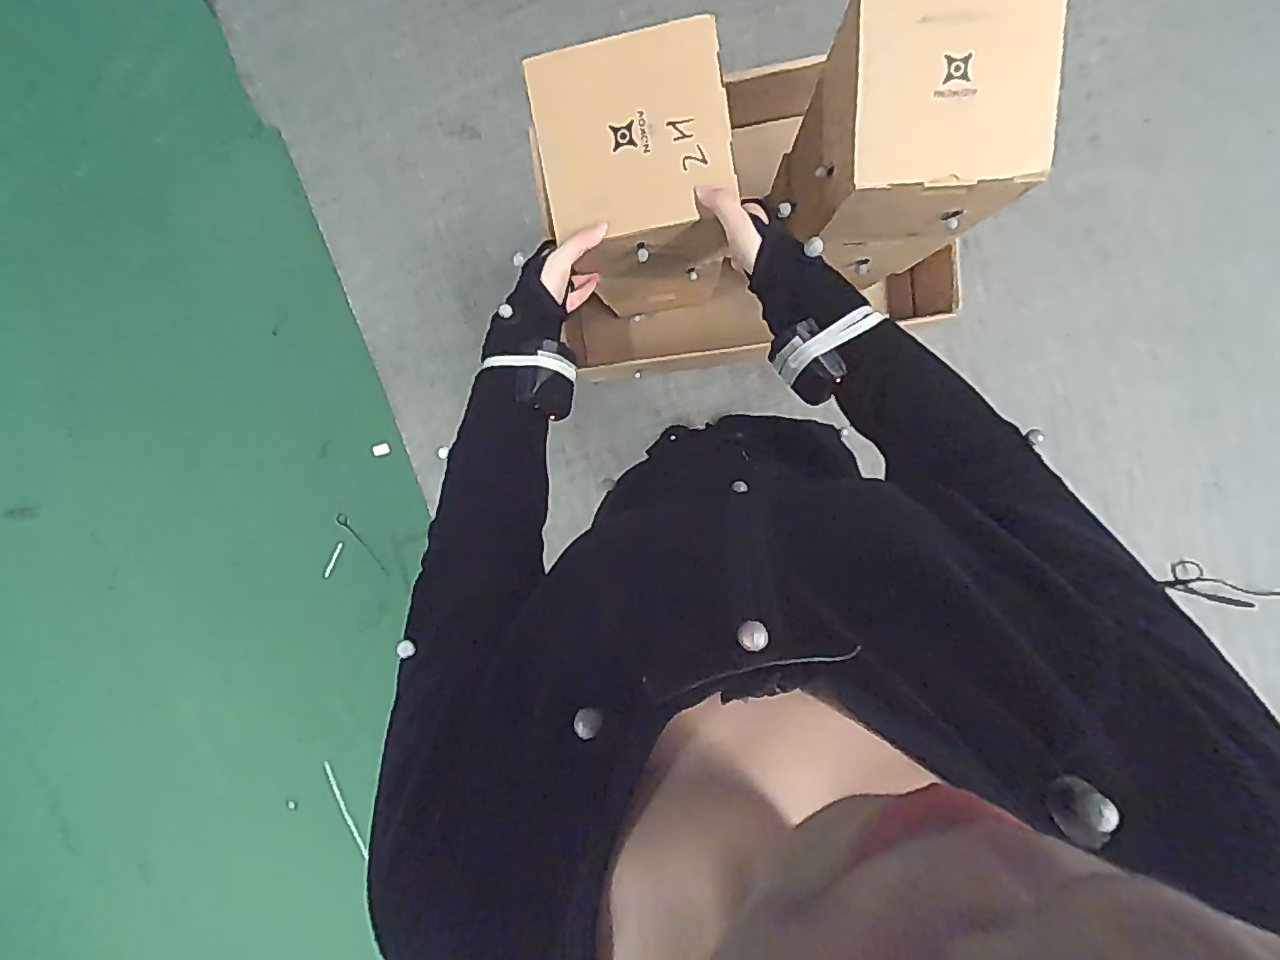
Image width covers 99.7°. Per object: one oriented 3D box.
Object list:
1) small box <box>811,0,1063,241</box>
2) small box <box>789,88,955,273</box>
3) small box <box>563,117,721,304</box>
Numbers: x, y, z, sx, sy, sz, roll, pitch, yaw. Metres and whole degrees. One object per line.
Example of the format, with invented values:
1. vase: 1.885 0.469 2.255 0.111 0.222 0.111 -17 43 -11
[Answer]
1. small box: 0.271 -0.347 0.534 0.168 0.176 0.179 0 97 6
2. small box: 0.289 -0.371 0.695 0.168 0.176 0.179 0 99 6
3. small box: 0.011 -0.347 0.733 0.179 0.176 0.168 -8 97 6
